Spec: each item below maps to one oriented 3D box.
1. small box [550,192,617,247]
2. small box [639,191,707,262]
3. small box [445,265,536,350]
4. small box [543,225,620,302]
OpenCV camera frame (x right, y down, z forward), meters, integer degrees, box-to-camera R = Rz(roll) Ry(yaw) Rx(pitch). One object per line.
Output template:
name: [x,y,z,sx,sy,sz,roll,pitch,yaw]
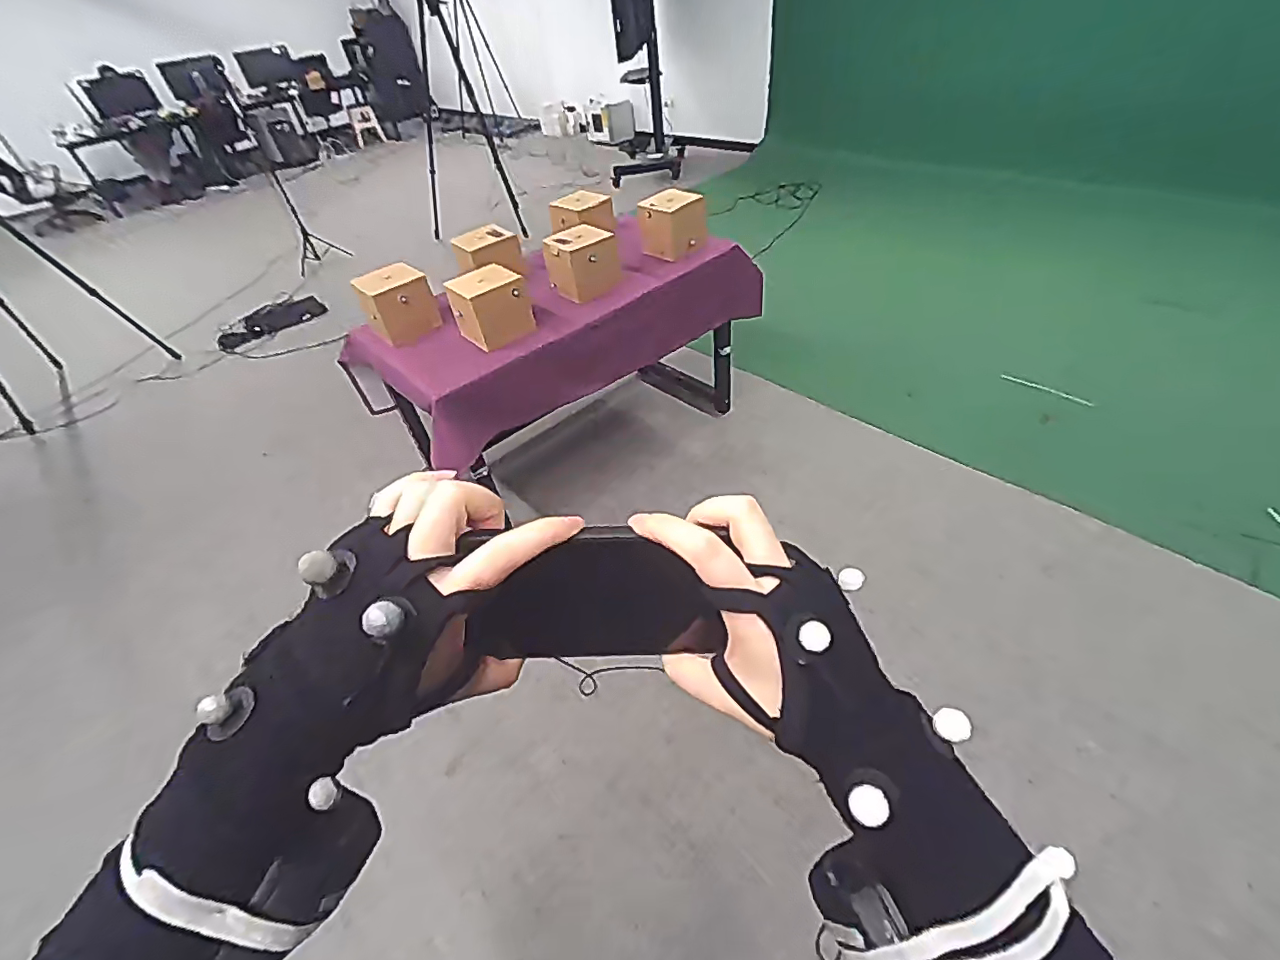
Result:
small box: [-0.205,-0.946,2.004,0.179,0.176,0.168,32,57,34]
small box: [0.118,-0.890,1.896,0.179,0.176,0.168,-36,50,-26]
small box: [-0.431,-0.502,1.580,0.179,0.176,0.168,-34,49,-26]
small box: [-0.182,-0.694,1.740,0.179,0.176,0.168,-32,49,-24]
